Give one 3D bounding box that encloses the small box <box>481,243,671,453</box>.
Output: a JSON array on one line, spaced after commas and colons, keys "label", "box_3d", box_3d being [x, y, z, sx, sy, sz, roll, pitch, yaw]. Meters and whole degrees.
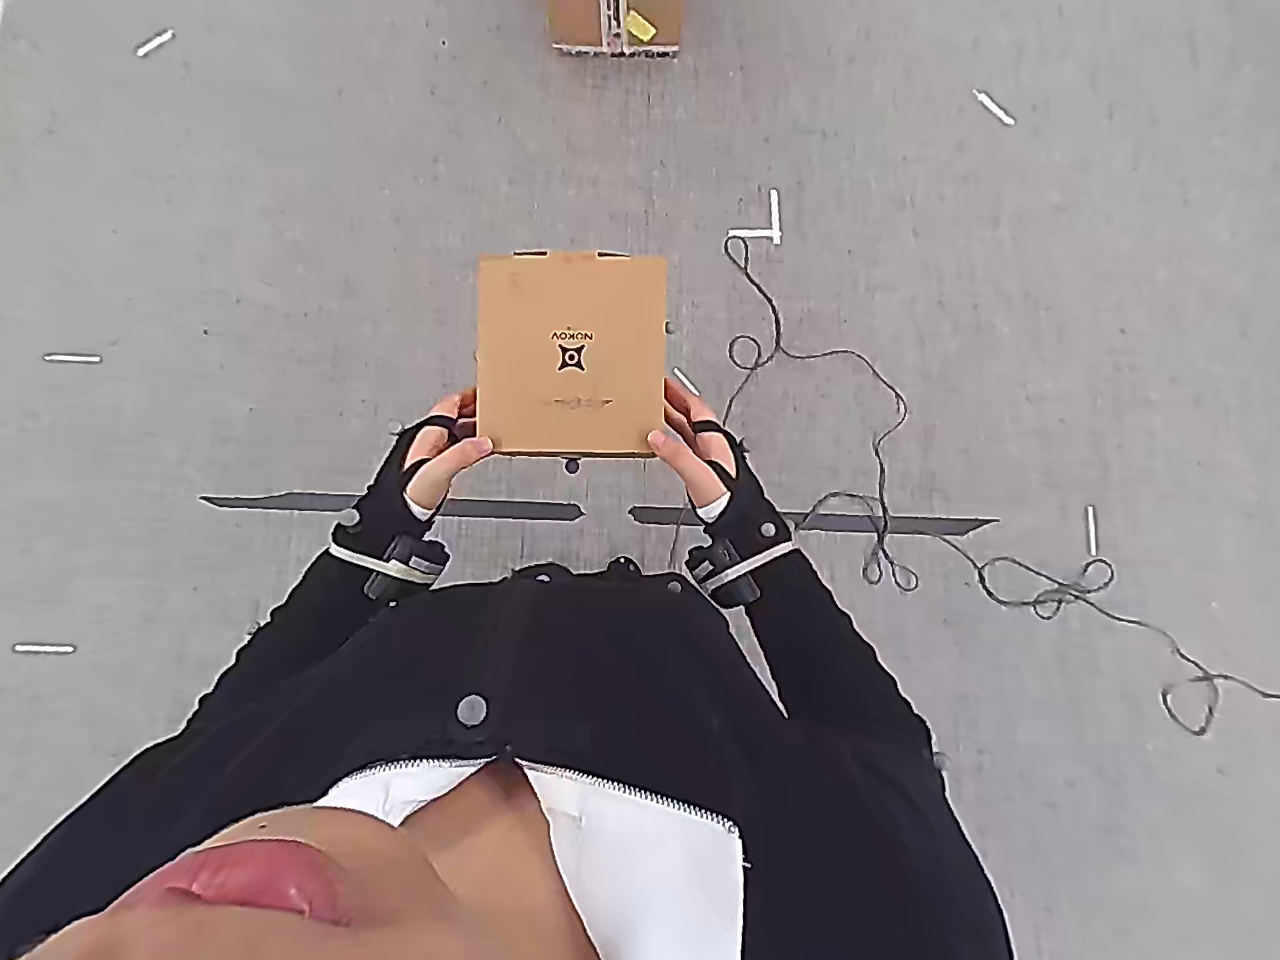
[{"label": "small box", "box_3d": [-0.058, -0.120, 0.554, 0.168, 0.176, 0.179, 1, 91, -1]}]
